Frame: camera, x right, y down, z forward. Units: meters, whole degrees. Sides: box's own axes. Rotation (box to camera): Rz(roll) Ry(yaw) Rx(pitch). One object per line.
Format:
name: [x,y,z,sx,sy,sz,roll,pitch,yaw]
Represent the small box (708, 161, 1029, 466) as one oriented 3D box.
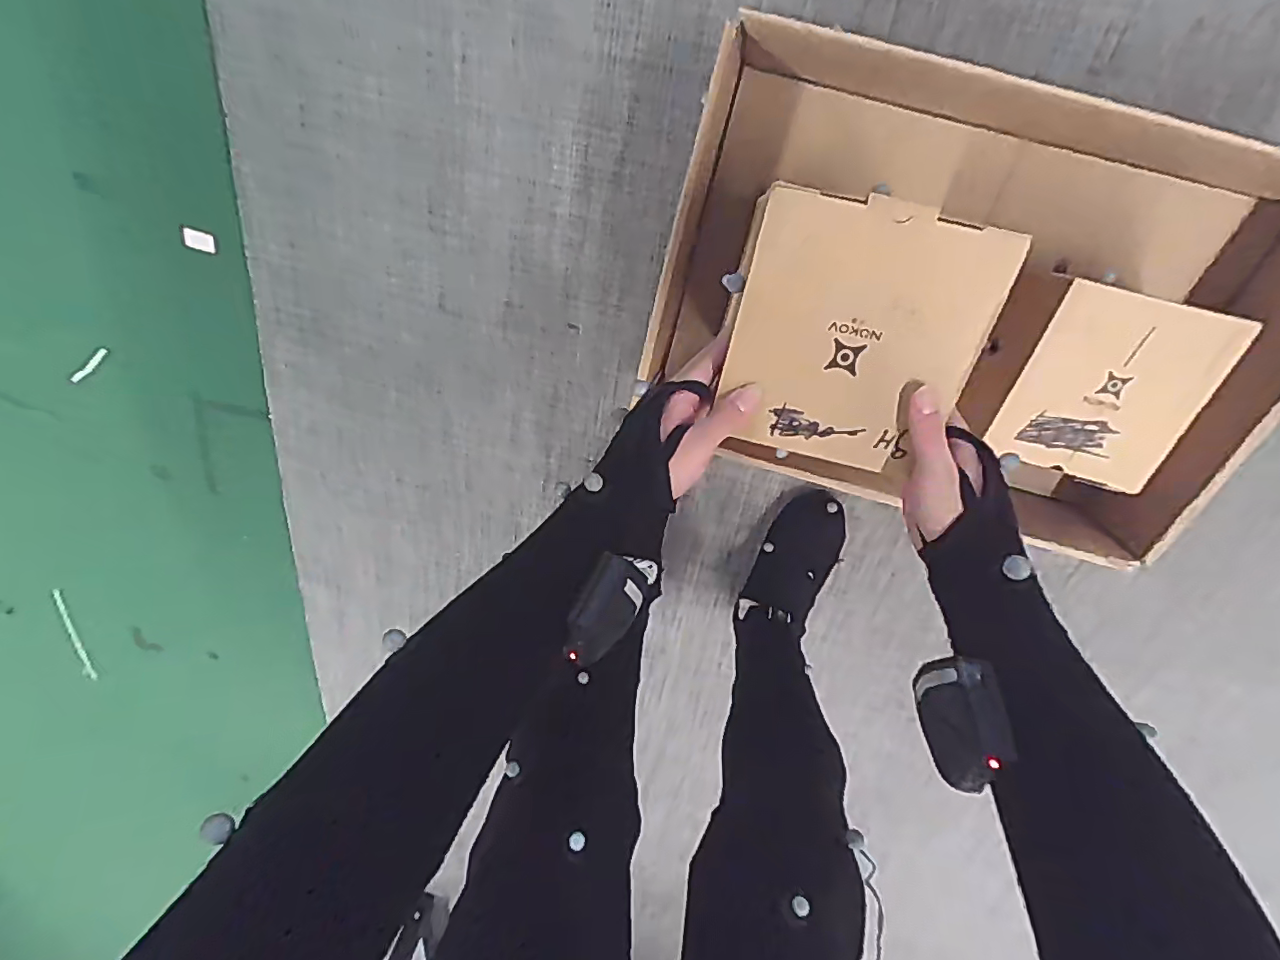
small box: [0.157,-0.139,0.444,0.168,0.176,0.179,14,117,4]
